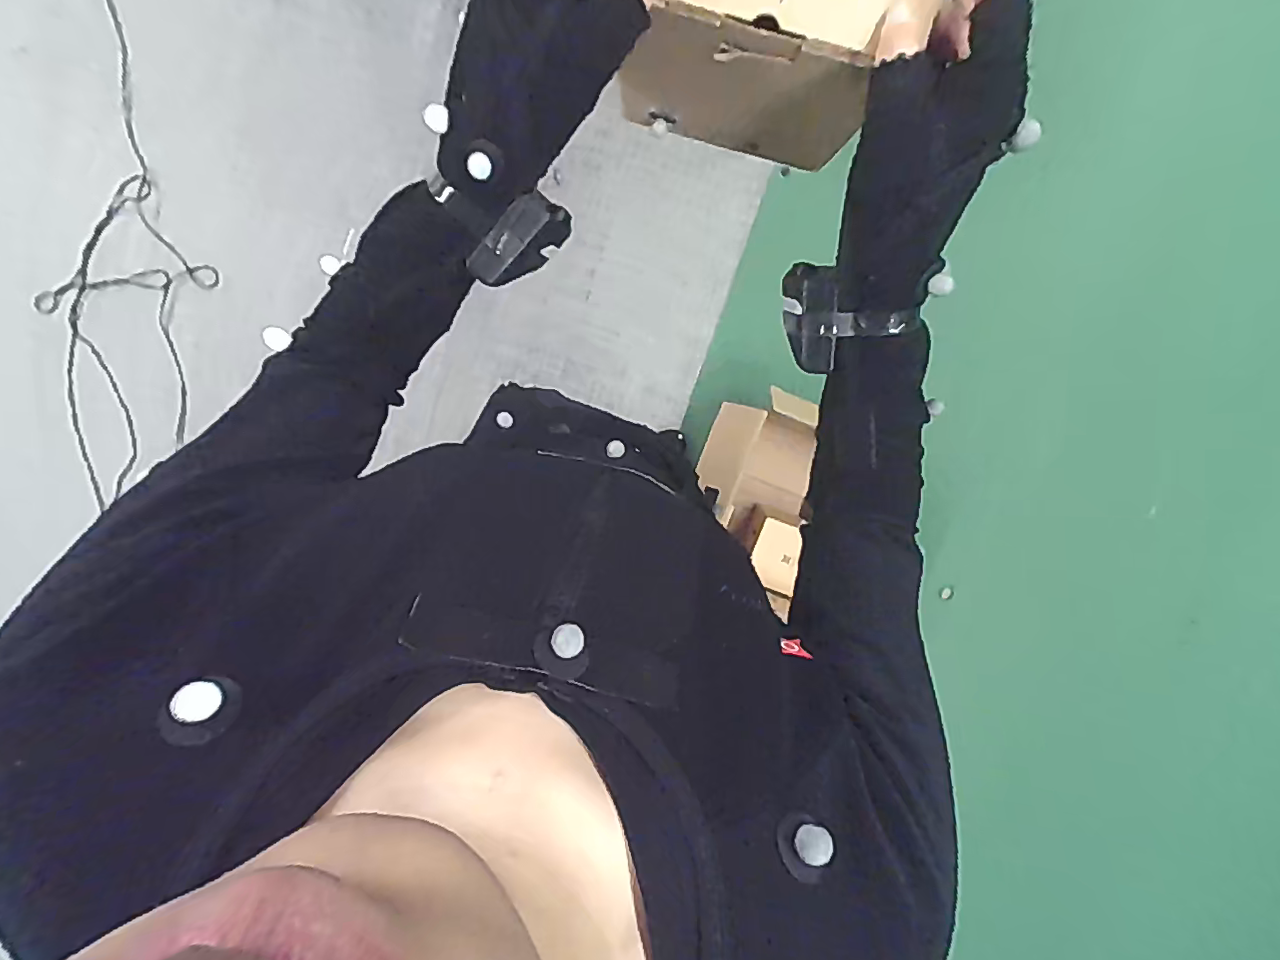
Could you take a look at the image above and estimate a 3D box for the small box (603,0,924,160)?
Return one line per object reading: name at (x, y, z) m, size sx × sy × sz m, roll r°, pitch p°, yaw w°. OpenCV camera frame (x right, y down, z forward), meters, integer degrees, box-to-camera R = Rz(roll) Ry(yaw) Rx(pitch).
small box at (0.081, -0.333, 0.337) m, size 0.168 × 0.176 × 0.179 m, roll 13°, pitch 103°, yaw -2°
